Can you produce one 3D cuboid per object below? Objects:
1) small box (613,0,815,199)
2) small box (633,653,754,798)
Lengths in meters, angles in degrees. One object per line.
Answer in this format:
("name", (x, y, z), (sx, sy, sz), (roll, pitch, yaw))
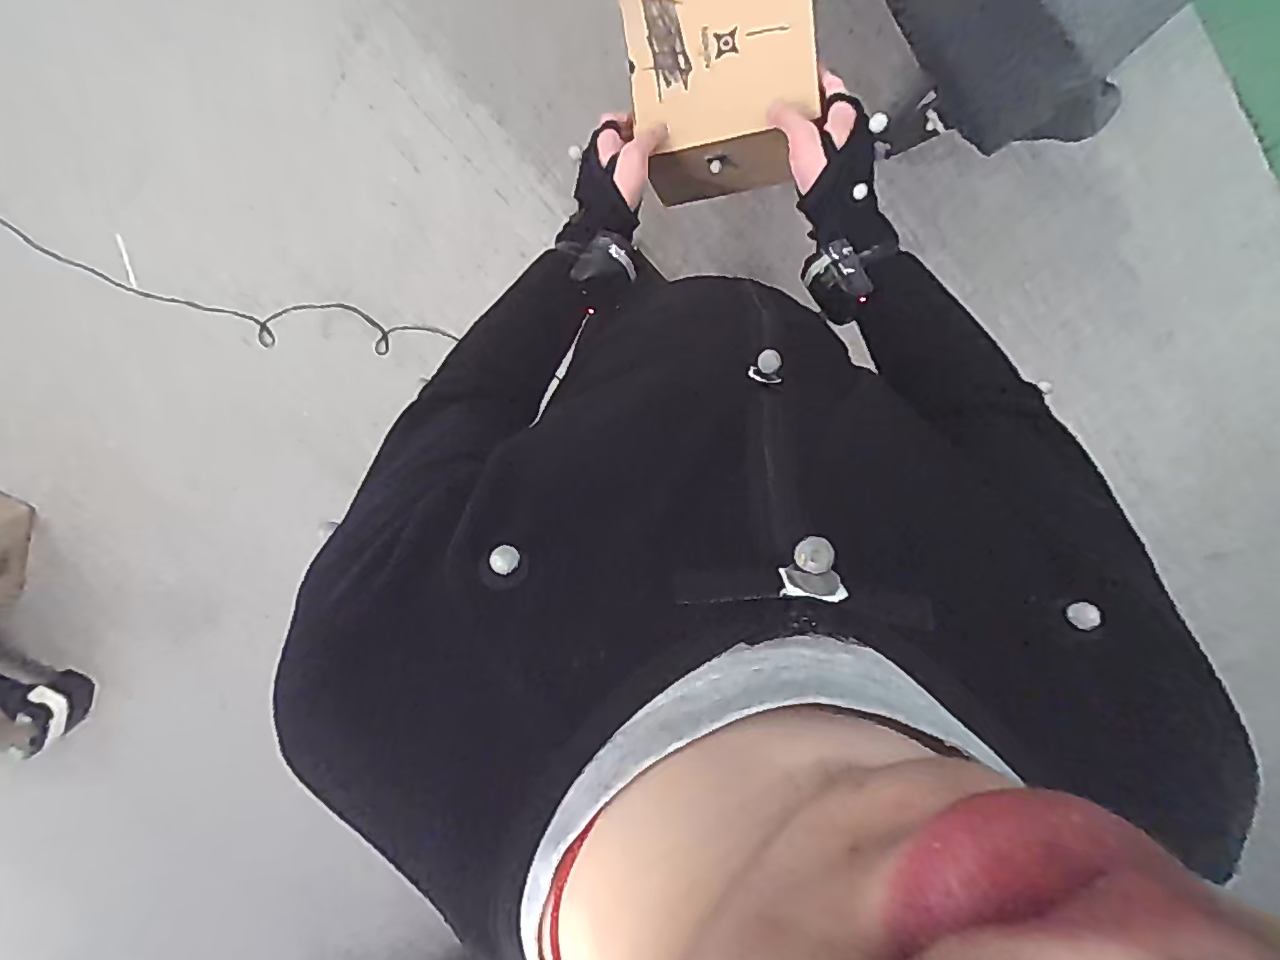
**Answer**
("small box", (0.081, -0.417, 0.569), (0.179, 0.176, 0.168), (-5, 101, 12))
("small box", (0.107, 0.496, 1.105), (0.179, 0.176, 0.168), (-39, 106, 17))
